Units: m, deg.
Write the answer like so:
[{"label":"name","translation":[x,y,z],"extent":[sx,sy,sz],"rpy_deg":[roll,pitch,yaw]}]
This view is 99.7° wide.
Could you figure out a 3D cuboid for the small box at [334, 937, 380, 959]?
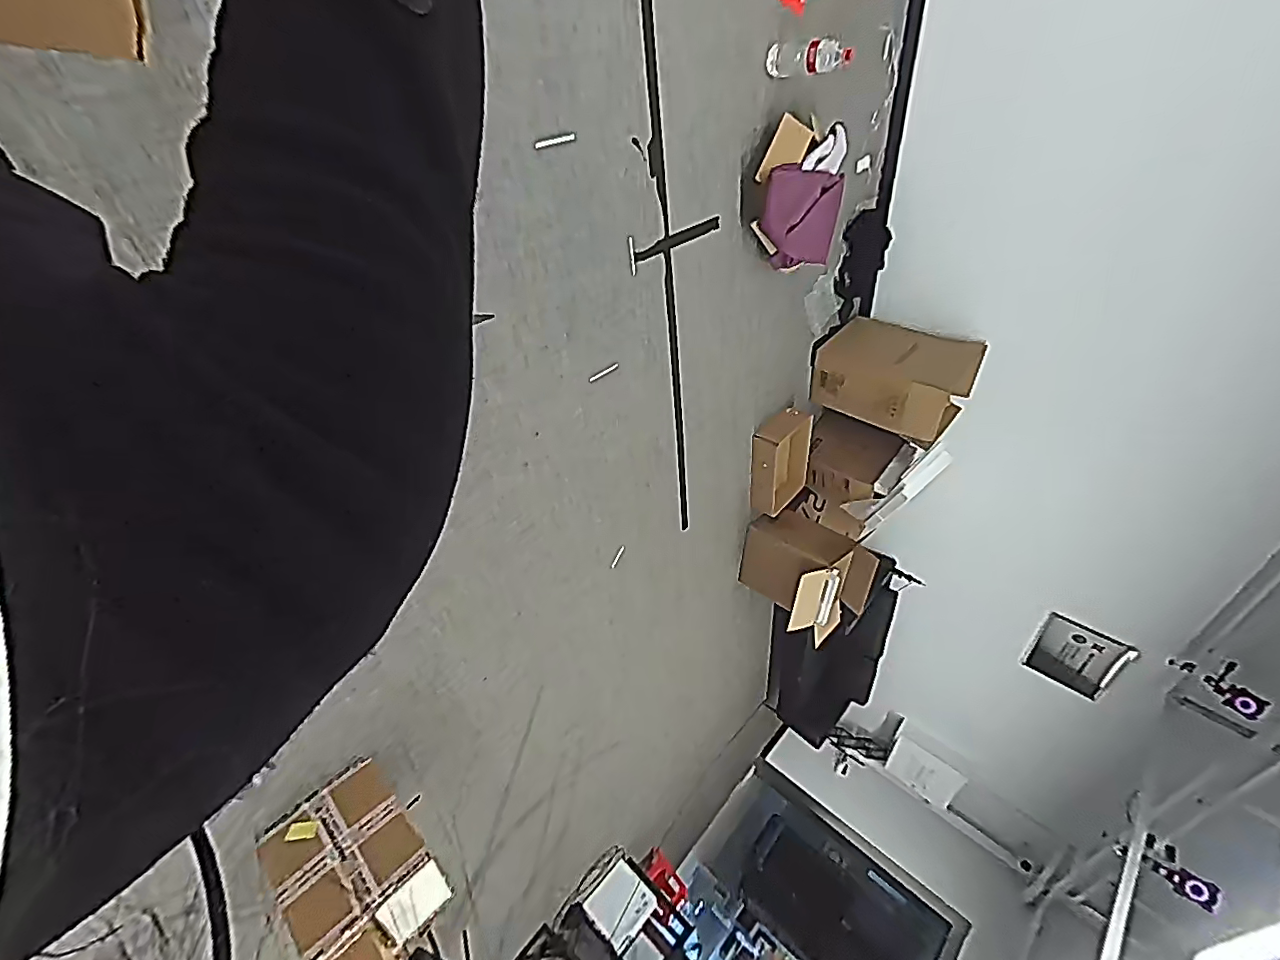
[{"label":"small box","translation":[-0.863,1.533,1.612],"extent":[0.179,0.176,0.168],"rpy_deg":[-34,136,-33]}]
